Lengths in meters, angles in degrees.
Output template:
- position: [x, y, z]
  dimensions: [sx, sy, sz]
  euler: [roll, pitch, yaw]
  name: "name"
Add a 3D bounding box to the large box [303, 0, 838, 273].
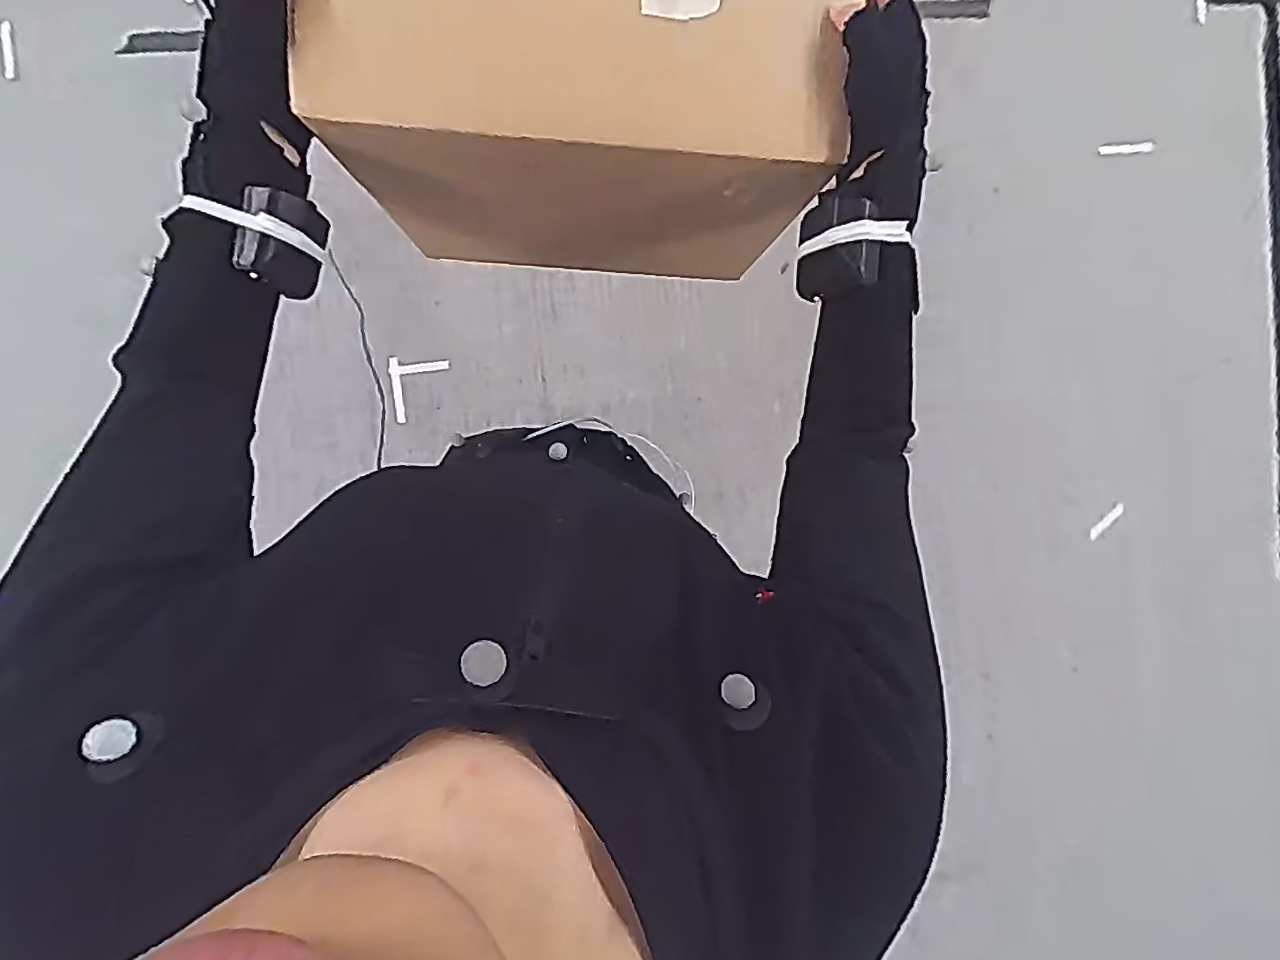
- position: [-0.057, -0.417, 0.547]
  dimensions: [0.408, 0.320, 0.320]
  euler: [1, 95, -6]
  name: "large box"
